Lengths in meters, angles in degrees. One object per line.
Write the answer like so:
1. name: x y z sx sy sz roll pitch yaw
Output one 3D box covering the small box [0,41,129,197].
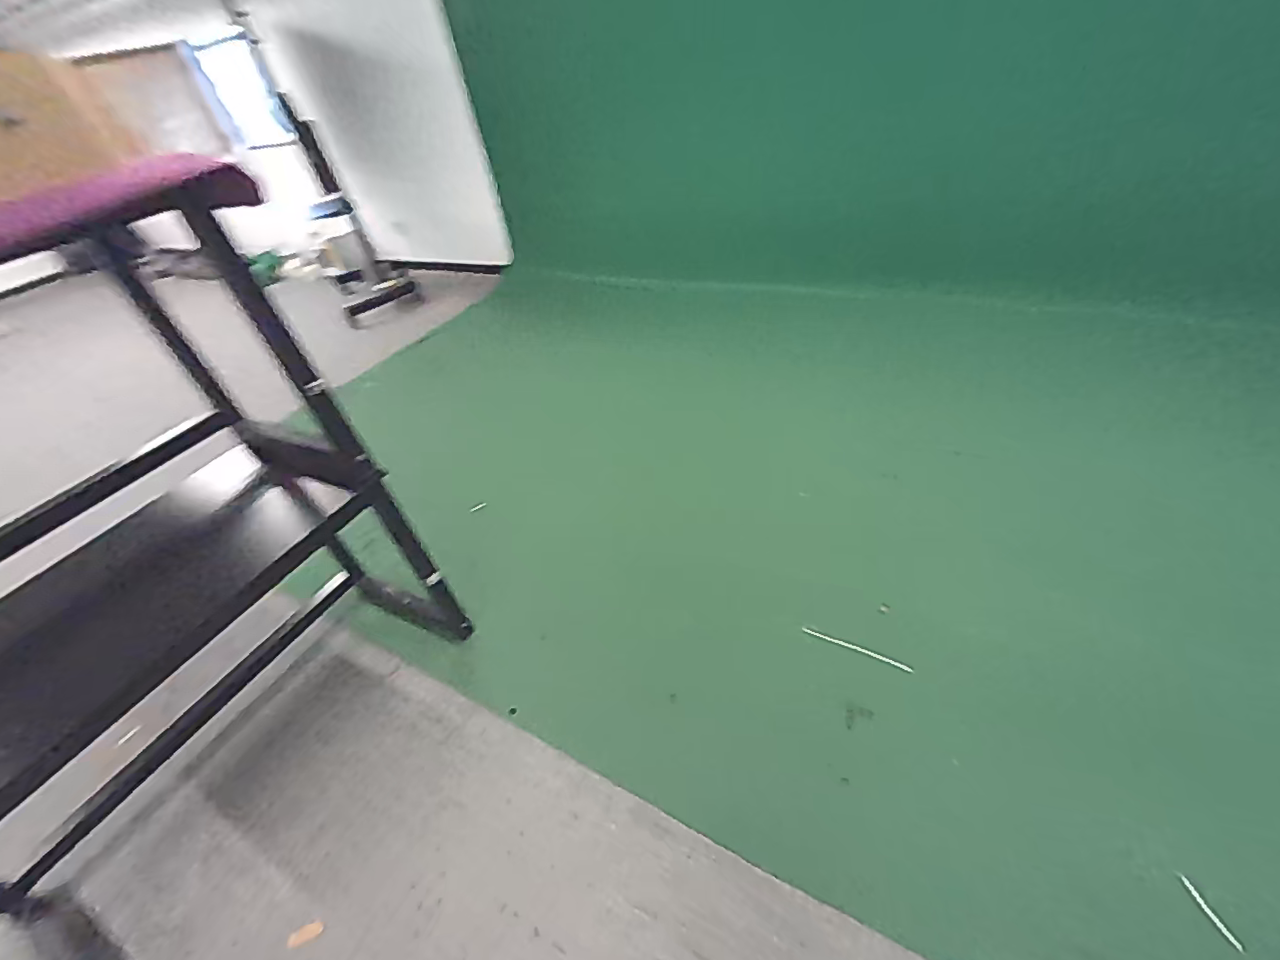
1. small box: -0.965 -0.560 0.846 0.168 0.176 0.179 15 48 27
